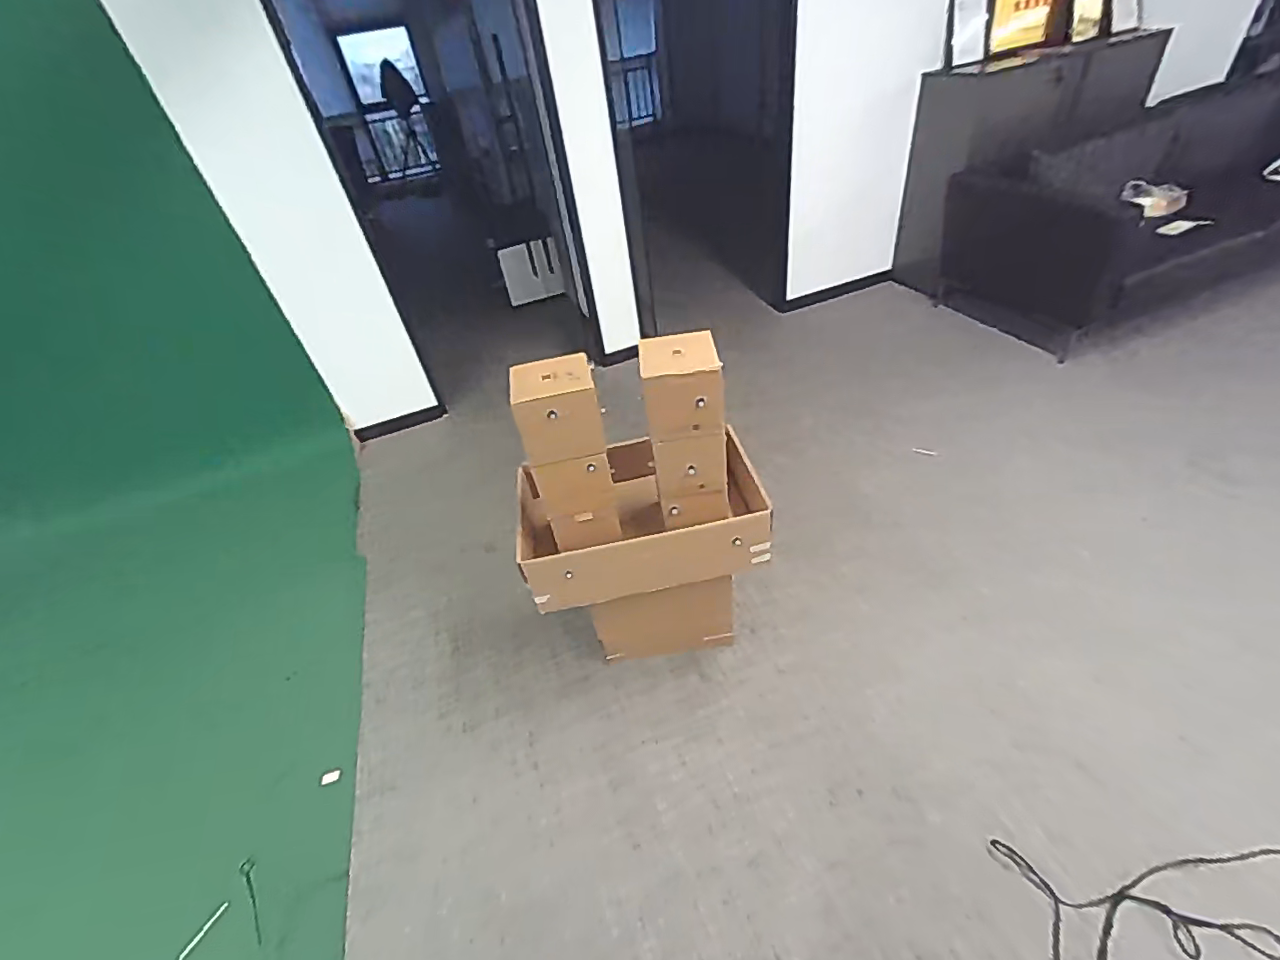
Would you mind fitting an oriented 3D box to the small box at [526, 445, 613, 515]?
[{"bbox_3d":[-0.170,-0.035,1.310,0.179,0.176,0.168,-11,40,-4],"label":"small box"}]

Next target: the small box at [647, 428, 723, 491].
[{"bbox_3d":[0.107,-0.086,1.312,0.168,0.176,0.179,-7,41,2],"label":"small box"}]

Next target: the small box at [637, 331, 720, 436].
[{"bbox_3d":[0.086,-0.210,1.206,0.168,0.176,0.179,-6,39,3],"label":"small box"}]

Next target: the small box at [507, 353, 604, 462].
[{"bbox_3d":[-0.187,-0.158,1.202,0.179,0.176,0.168,-12,41,-5],"label":"small box"}]
